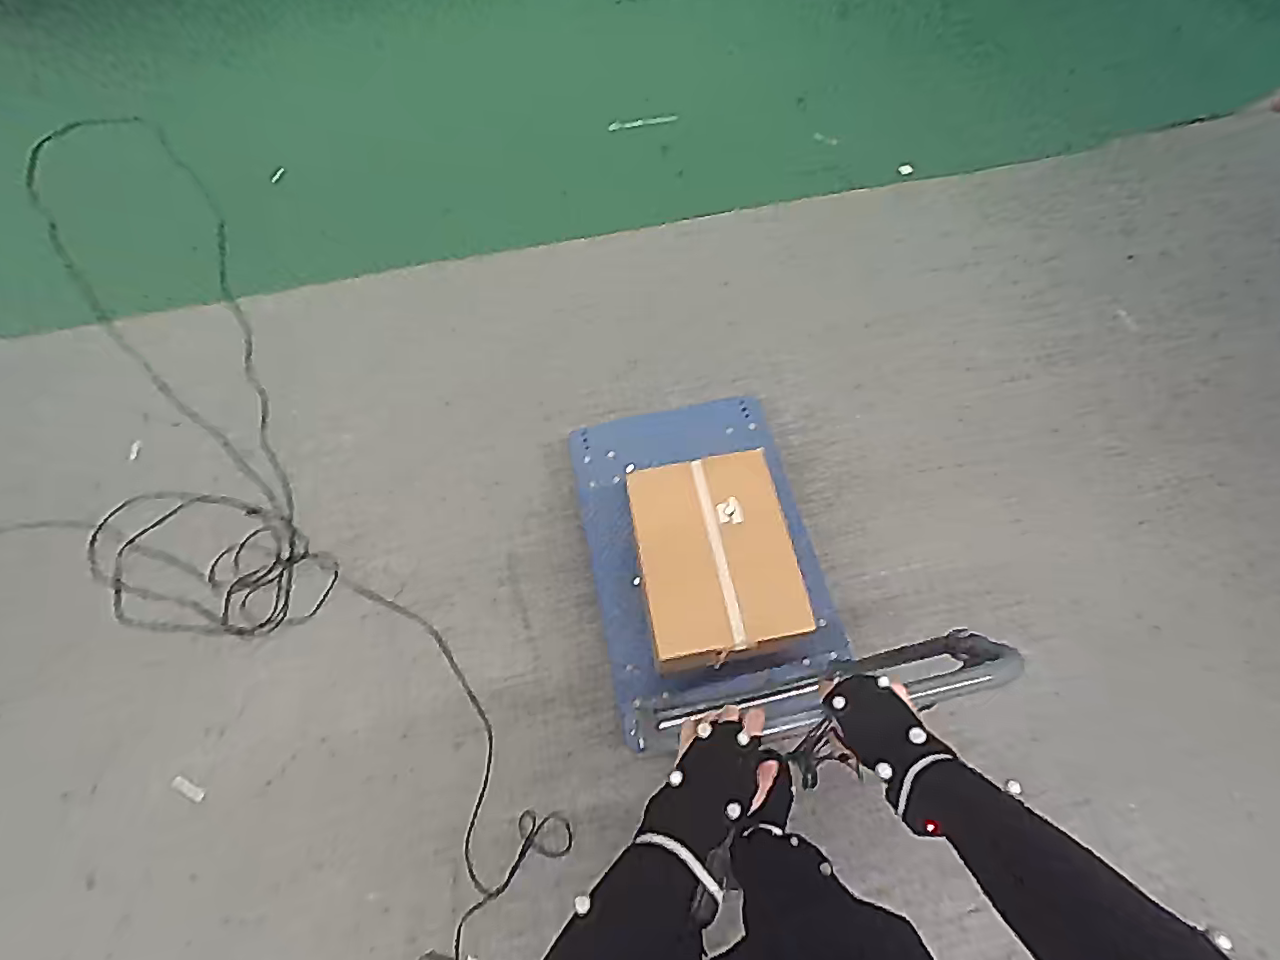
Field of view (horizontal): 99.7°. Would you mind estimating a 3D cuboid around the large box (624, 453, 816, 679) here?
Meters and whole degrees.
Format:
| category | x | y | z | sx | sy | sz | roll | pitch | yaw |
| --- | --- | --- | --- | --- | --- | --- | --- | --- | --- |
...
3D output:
| category | x | y | z | sx | sy | sz | roll | pitch | yaw |
| --- | --- | --- | --- | --- | --- | --- | --- | --- | --- |
| large box | 0.155 | 0.206 | 1.239 | 0.320 | 0.320 | 0.408 | -10 | 64 | -4 |
